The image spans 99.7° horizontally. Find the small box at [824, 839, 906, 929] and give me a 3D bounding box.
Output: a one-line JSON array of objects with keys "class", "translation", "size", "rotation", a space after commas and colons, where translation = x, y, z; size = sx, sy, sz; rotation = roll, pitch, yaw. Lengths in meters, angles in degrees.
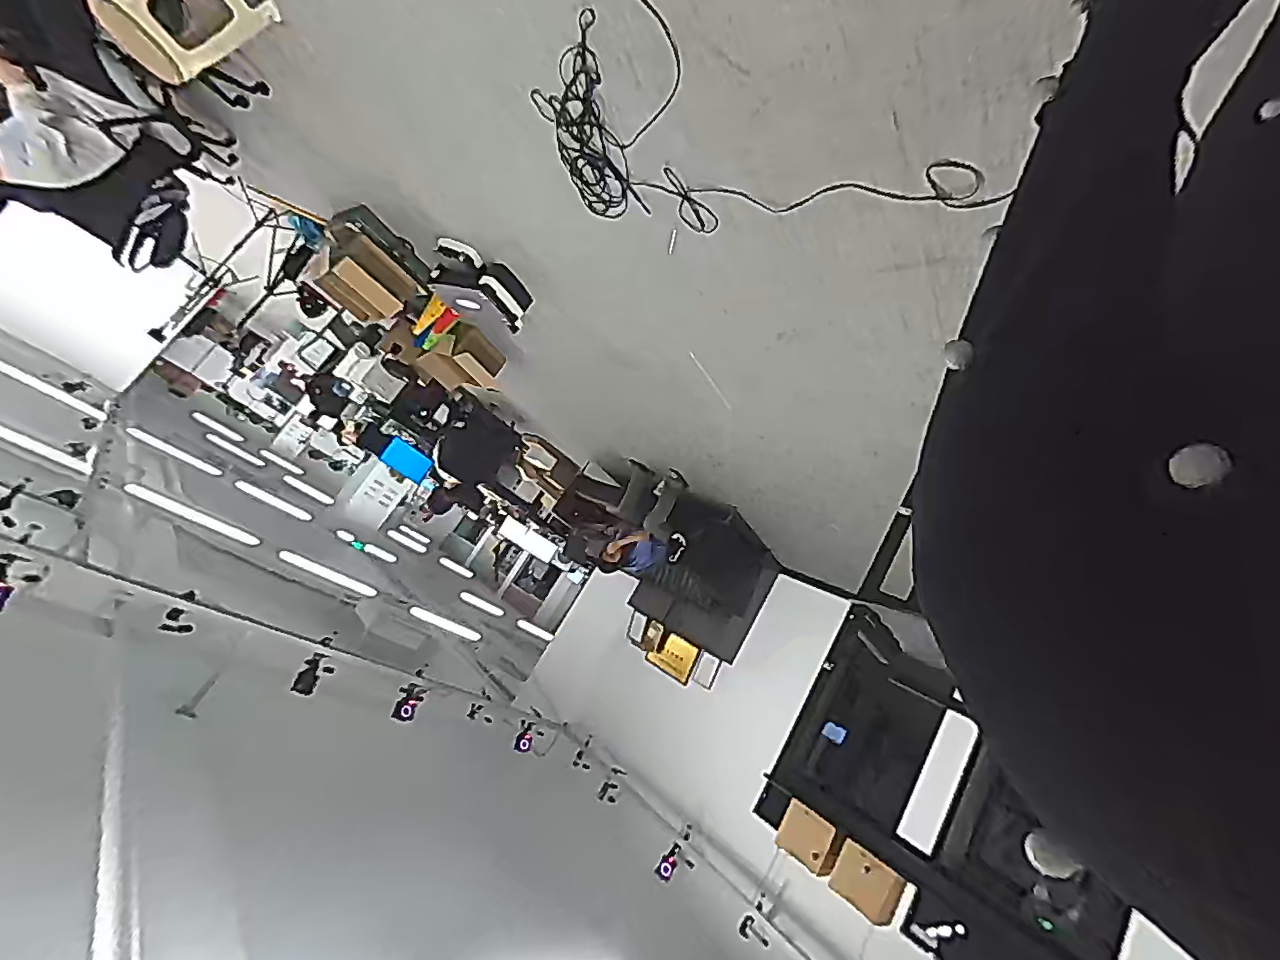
[{"class": "small box", "translation": [0.727, 1.290, 1.735], "size": [0.168, 0.176, 0.179], "rotation": [18, 160, 47]}]
